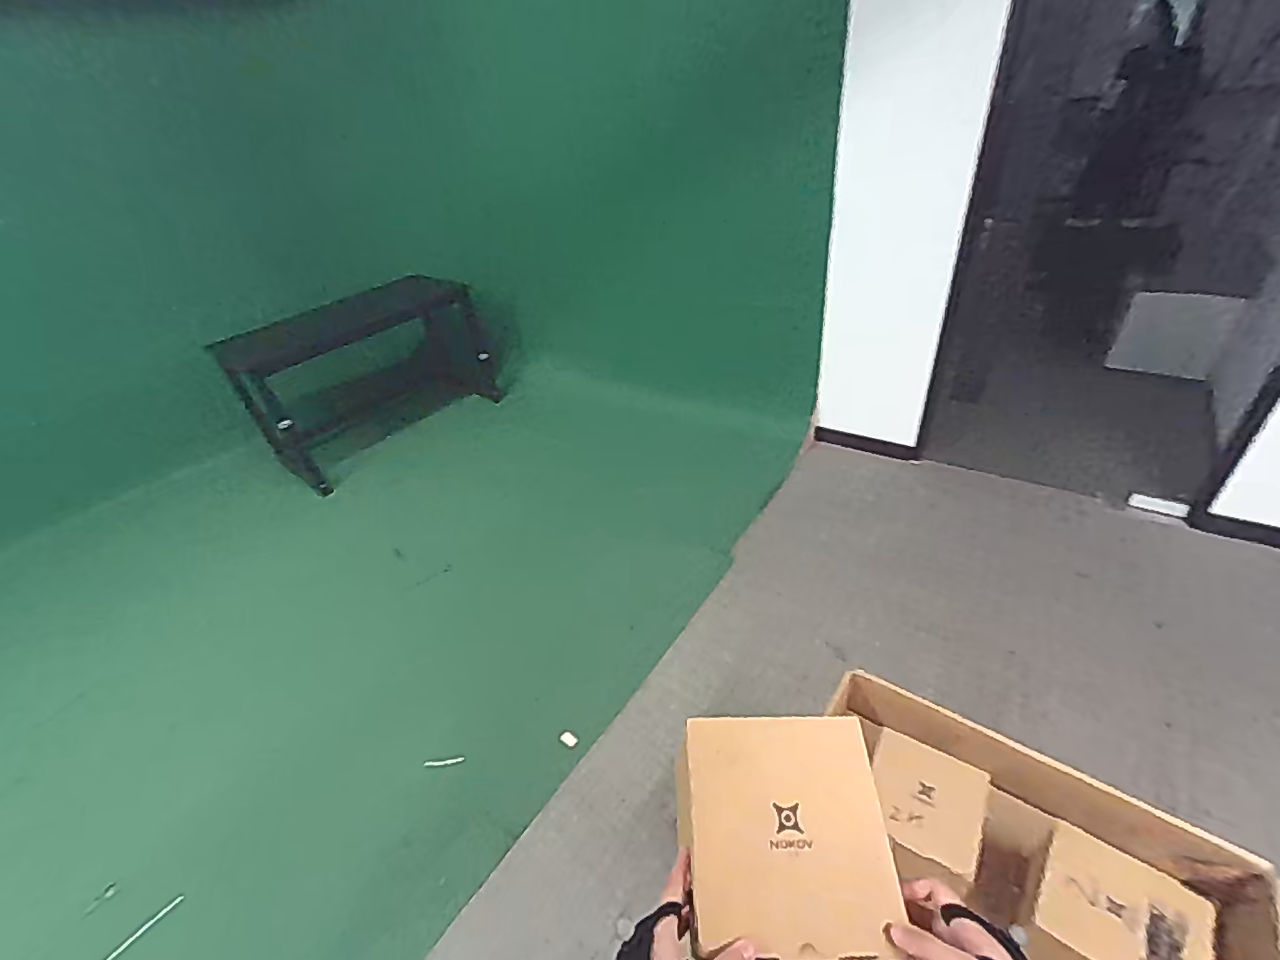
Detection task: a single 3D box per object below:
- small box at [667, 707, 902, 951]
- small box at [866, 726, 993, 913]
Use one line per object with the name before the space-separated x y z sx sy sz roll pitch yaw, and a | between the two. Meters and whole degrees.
small box | 0.114 0.333 0.517 0.168 0.176 0.179 0 51 -1
small box | 0.463 0.563 0.905 0.168 0.176 0.179 17 44 31
